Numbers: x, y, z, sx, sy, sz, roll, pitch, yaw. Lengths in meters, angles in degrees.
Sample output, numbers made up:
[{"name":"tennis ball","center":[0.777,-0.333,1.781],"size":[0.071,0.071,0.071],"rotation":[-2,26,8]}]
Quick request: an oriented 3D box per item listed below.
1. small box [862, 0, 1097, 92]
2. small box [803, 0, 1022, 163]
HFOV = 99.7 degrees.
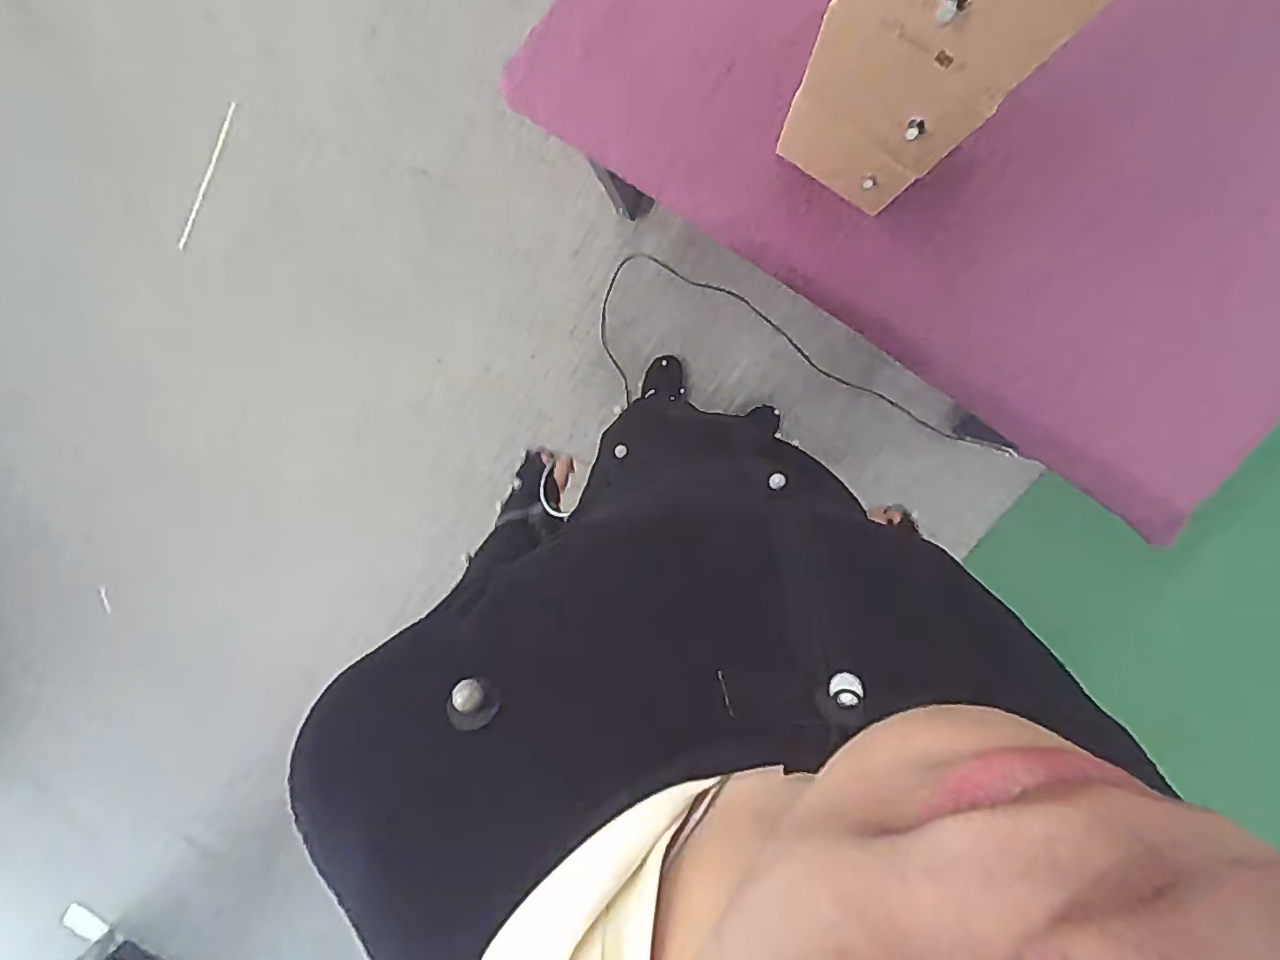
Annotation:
[{"name":"small box","center":[0.275,-0.423,0.372],"size":[0.168,0.176,0.179],"rotation":[32,103,-1]},{"name":"small box","center":[0.289,-0.449,0.532],"size":[0.179,0.176,0.168],"rotation":[34,103,-1]}]
